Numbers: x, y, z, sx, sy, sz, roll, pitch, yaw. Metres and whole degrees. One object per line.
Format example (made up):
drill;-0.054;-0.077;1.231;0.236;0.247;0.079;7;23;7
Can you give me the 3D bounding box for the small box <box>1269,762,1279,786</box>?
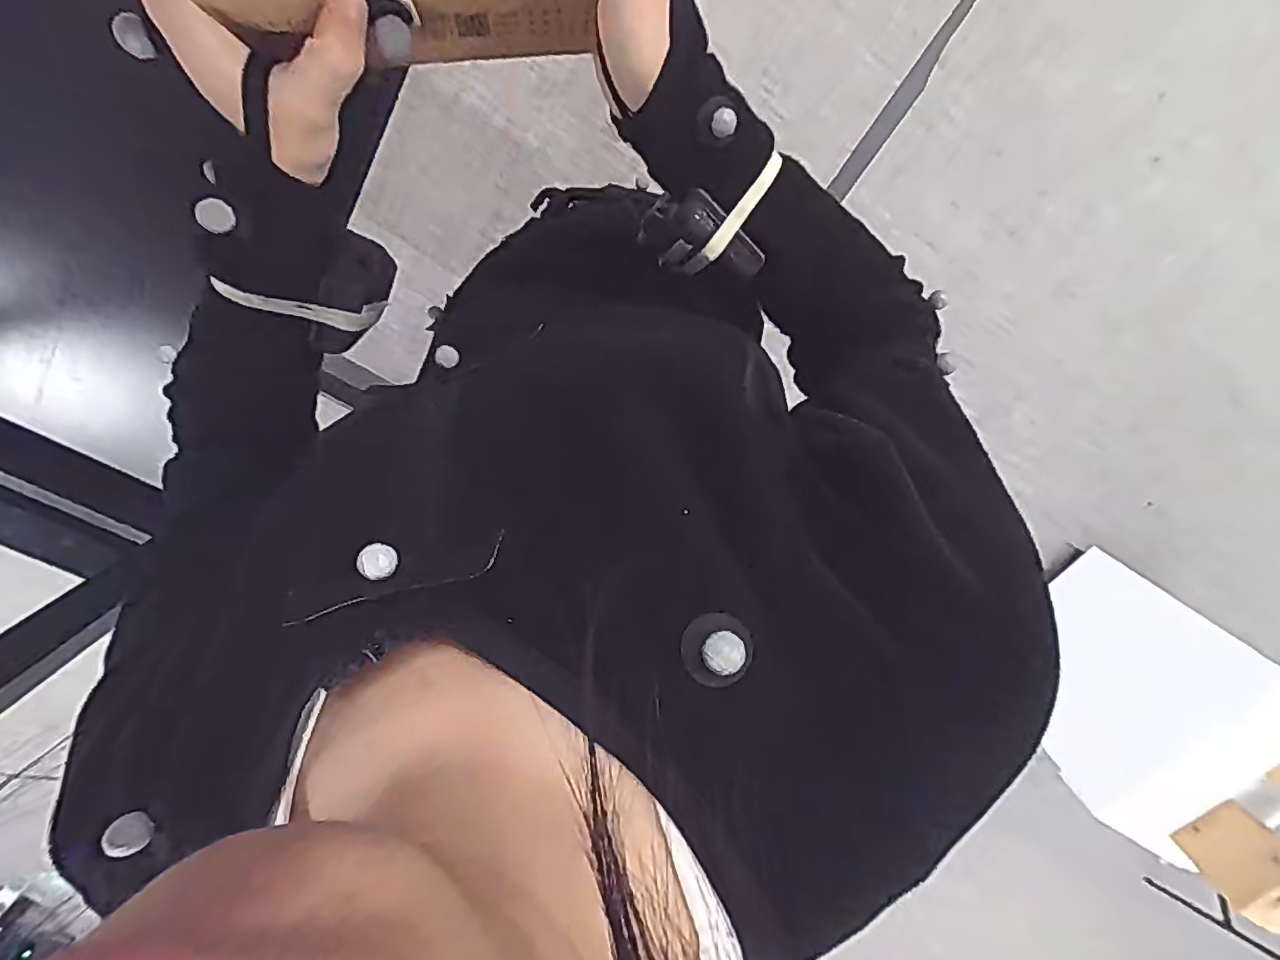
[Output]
small box;1.539;0.683;1.157;0.179;0.176;0.168;35;109;-16
